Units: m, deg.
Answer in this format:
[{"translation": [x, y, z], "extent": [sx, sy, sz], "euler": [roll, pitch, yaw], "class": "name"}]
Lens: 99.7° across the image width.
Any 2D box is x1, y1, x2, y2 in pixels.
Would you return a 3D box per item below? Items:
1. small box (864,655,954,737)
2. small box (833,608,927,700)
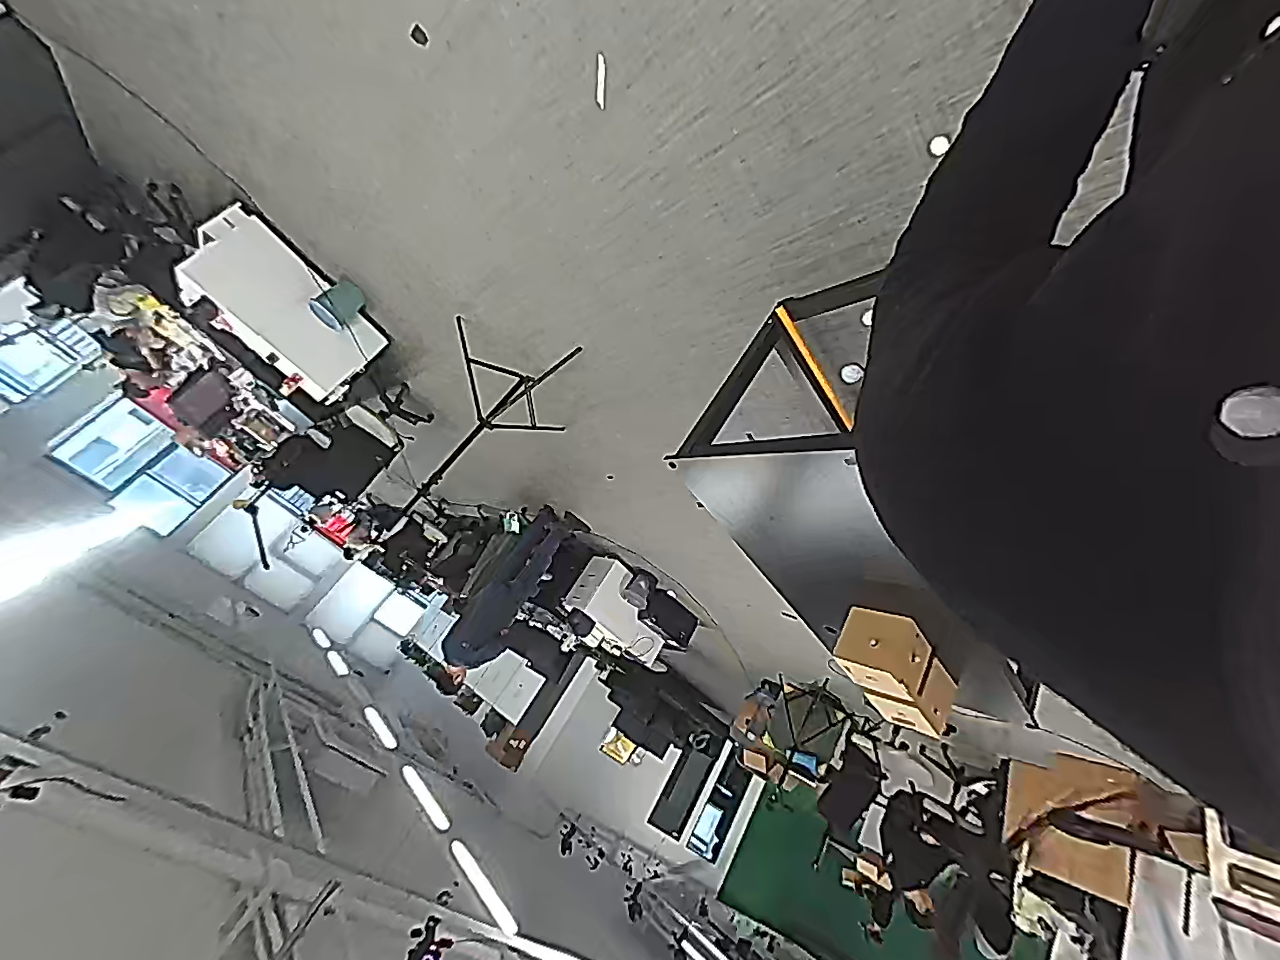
[{"translation": [0.809, 0.625, 1.616], "extent": [0.179, 0.176, 0.168], "euler": [48, 153, -25], "class": "small box"}, {"translation": [0.681, 0.482, 1.518], "extent": [0.179, 0.176, 0.168], "euler": [0, 139, 52], "class": "small box"}]
